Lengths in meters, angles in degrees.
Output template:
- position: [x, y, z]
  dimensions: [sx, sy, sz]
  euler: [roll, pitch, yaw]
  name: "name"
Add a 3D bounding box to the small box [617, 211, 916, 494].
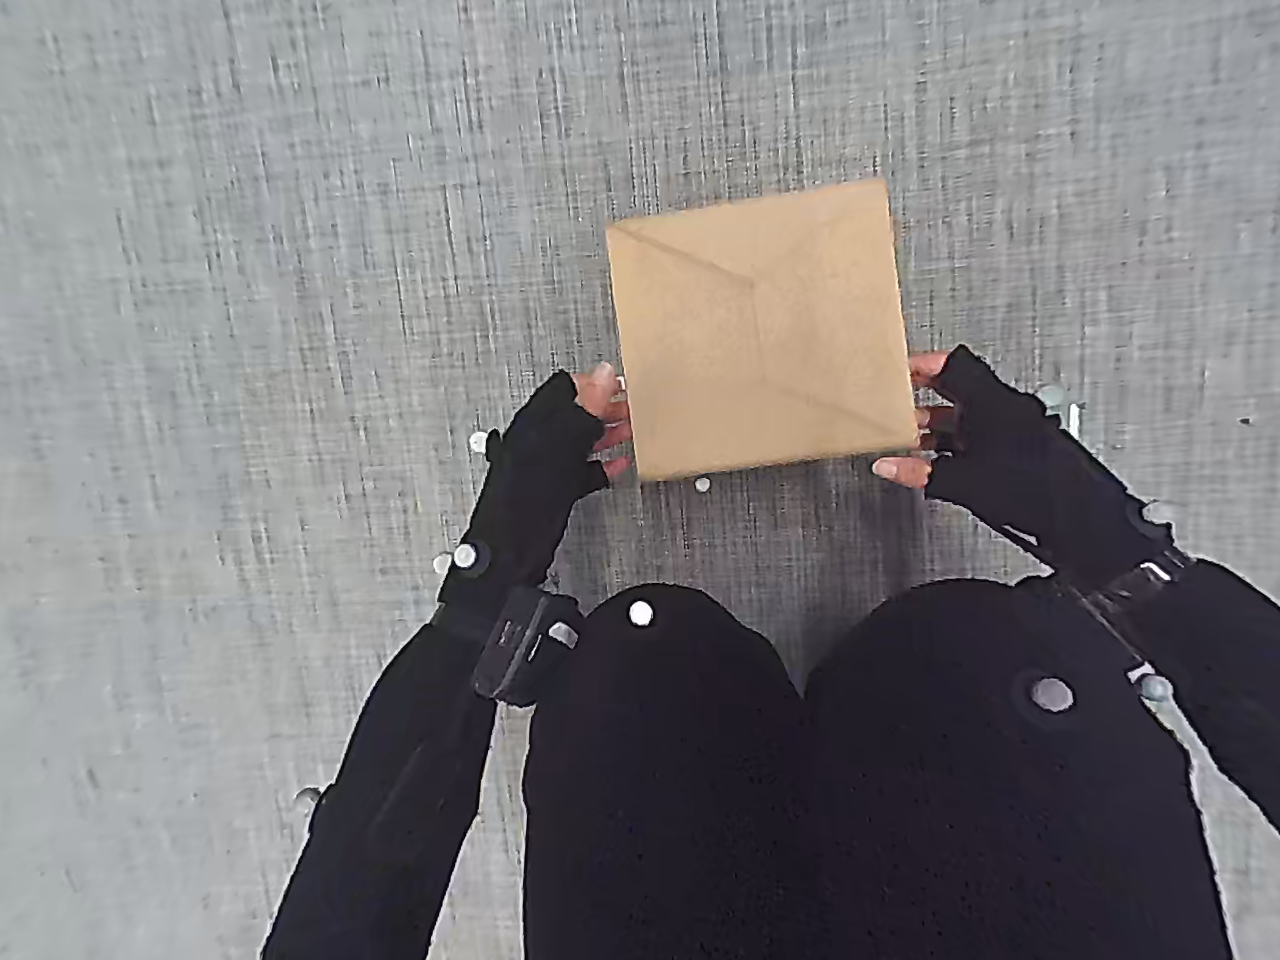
- position: [0.081, -0.085, 0.419]
  dimensions: [0.179, 0.176, 0.168]
  euler: [-8, 95, 3]
  name: "small box"
